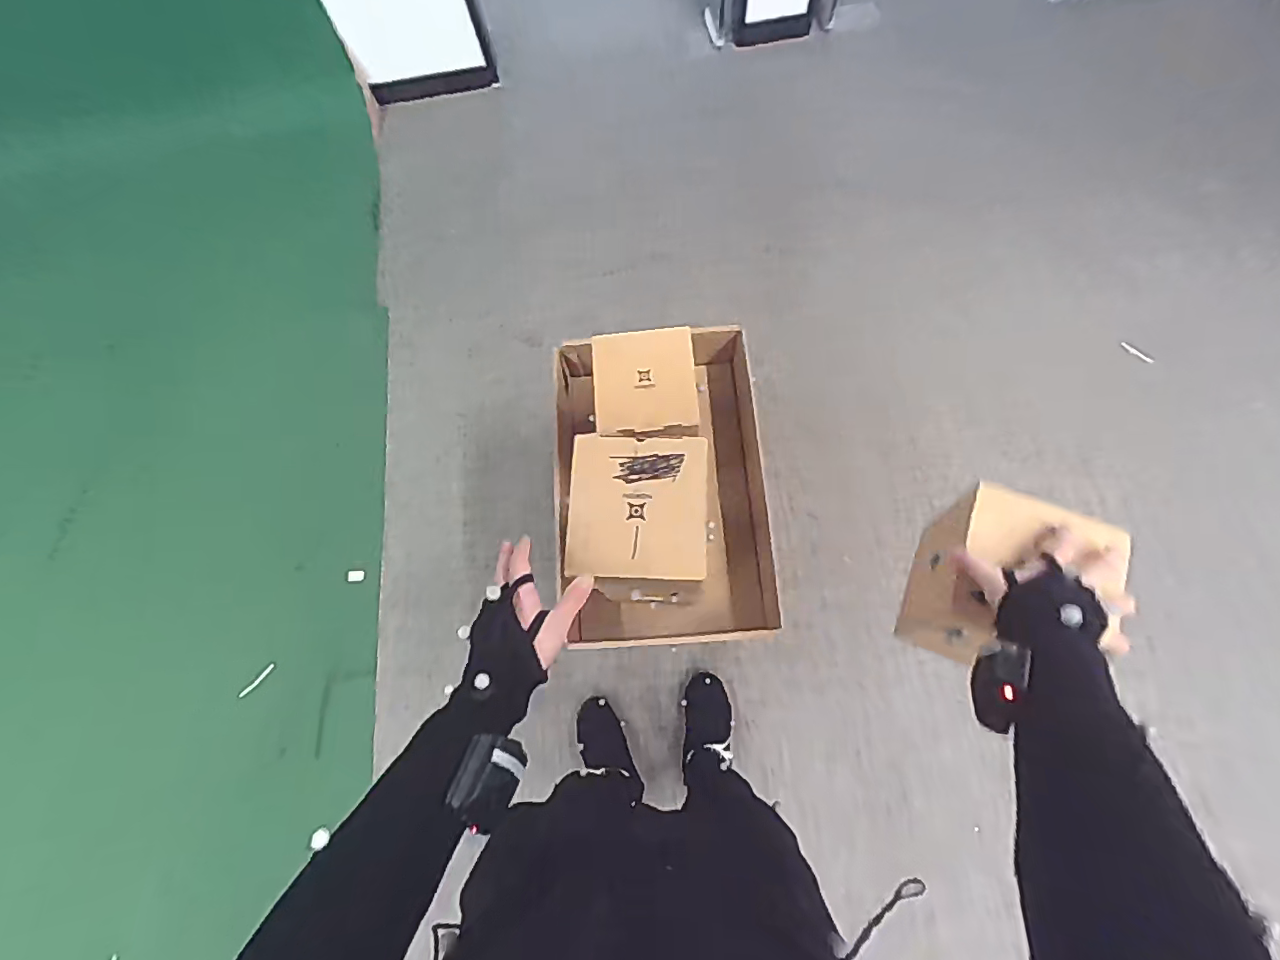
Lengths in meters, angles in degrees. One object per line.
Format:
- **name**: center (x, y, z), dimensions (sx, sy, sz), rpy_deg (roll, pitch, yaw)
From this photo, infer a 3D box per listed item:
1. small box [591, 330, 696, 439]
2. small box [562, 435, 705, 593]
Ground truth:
- **small box**: center (0.005, -0.140, 0.953), dimensions (0.168, 0.176, 0.179), rpy_deg (-5, 75, 1)
- **small box**: center (-0.003, 0.053, 0.723), dimensions (0.168, 0.176, 0.179), rpy_deg (2, 74, 3)
